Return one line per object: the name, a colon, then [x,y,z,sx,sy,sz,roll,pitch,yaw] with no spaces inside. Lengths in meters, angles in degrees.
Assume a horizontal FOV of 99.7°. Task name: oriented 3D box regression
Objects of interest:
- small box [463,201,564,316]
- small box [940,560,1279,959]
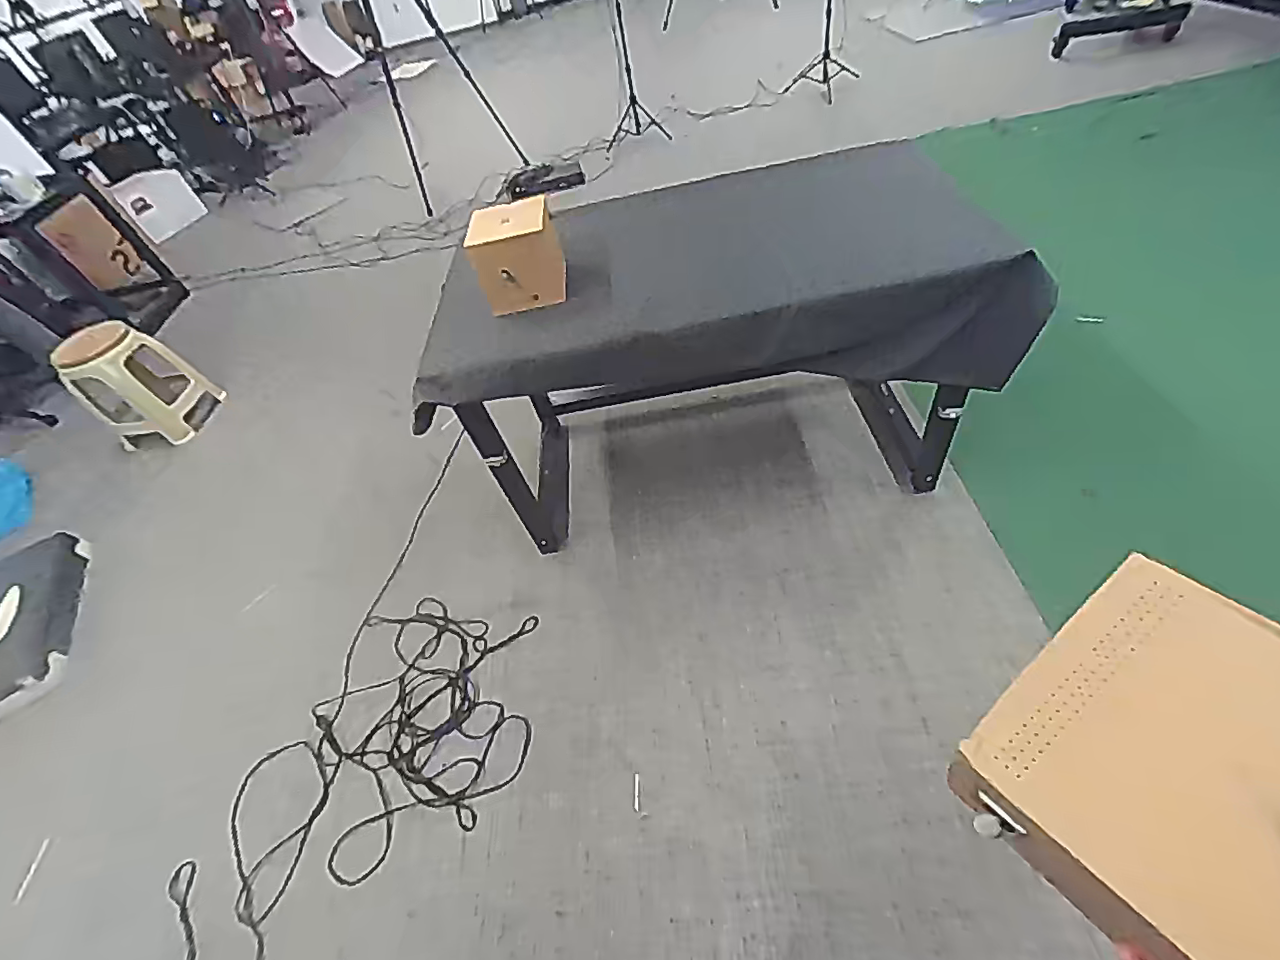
small box: [-0.268,-0.478,1.189,0.168,0.176,0.179,-11,47,4]
small box: [0.321,0.182,0.336,0.179,0.168,0.176,-42,46,-6]
